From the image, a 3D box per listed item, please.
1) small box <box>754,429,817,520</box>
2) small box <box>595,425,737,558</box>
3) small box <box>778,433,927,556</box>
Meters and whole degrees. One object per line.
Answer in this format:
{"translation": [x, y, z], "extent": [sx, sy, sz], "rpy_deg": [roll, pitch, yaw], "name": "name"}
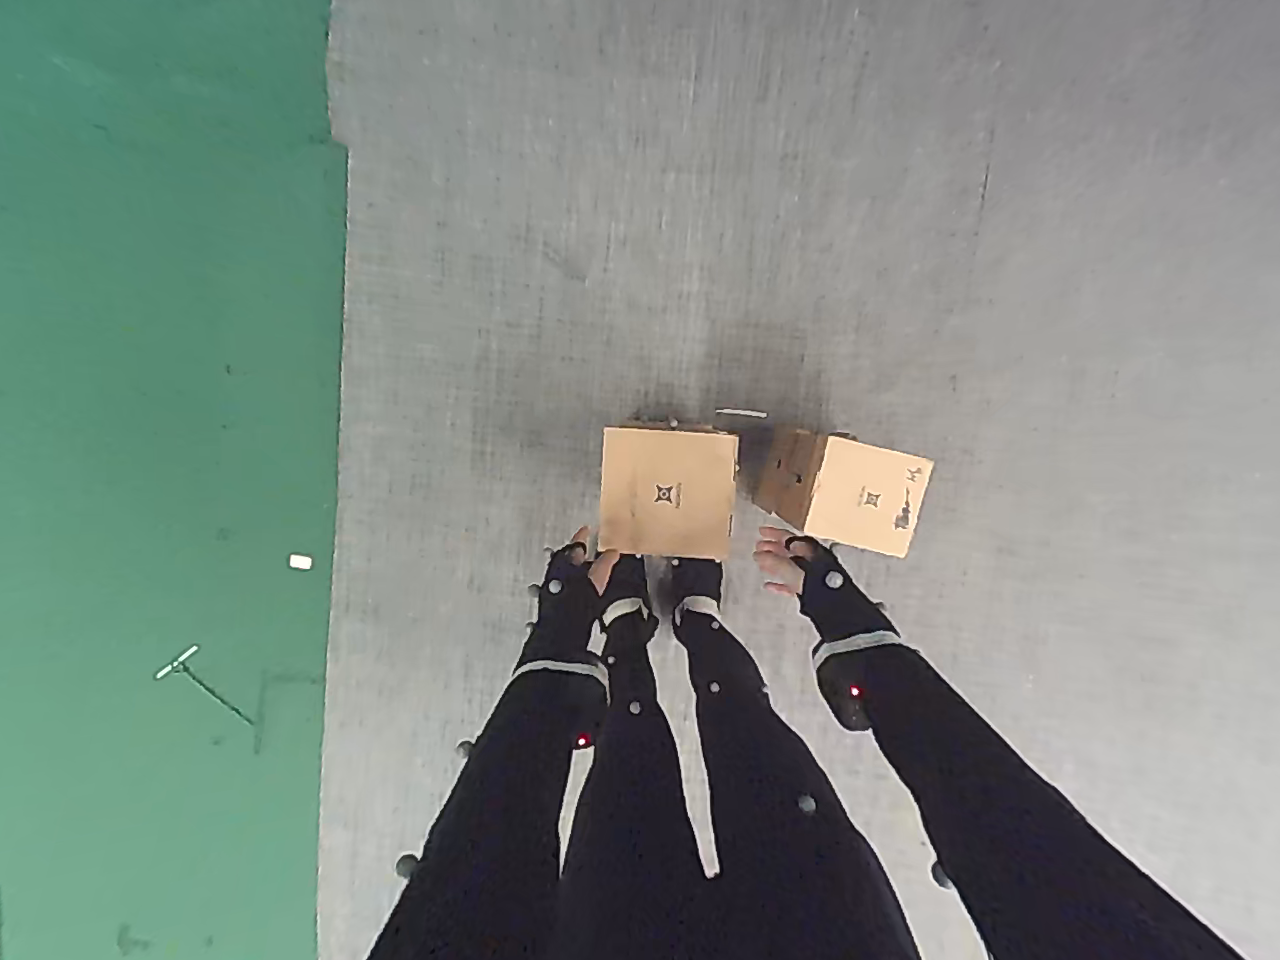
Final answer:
{"translation": [0.345, -0.002, 1.110], "extent": [0.168, 0.176, 0.179], "rpy_deg": [14, 96, -1], "name": "small box"}
{"translation": [0.034, 0.008, 0.783], "extent": [0.179, 0.176, 0.168], "rpy_deg": [4, 95, 1], "name": "small box"}
{"translation": [0.357, 0.019, 0.947], "extent": [0.179, 0.176, 0.168], "rpy_deg": [14, 95, 0], "name": "small box"}
